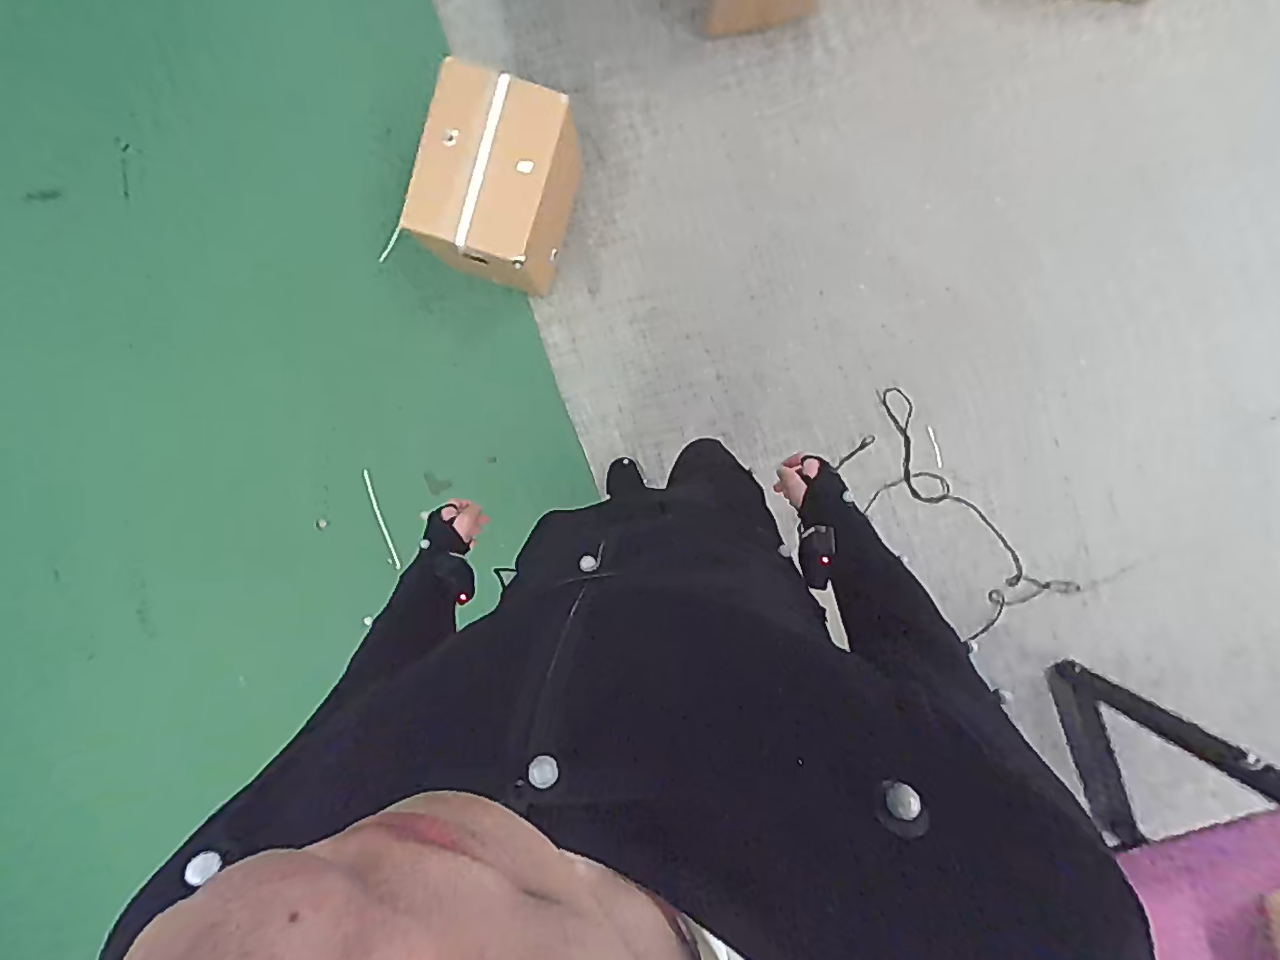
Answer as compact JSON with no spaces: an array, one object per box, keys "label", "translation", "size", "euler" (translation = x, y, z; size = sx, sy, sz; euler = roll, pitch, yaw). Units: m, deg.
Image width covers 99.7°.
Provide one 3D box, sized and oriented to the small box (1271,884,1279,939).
[{"label":"small box","translation":[1.157,0.748,0.836],"size":[0.168,0.176,0.179],"euler":[-19,94,3]}]
